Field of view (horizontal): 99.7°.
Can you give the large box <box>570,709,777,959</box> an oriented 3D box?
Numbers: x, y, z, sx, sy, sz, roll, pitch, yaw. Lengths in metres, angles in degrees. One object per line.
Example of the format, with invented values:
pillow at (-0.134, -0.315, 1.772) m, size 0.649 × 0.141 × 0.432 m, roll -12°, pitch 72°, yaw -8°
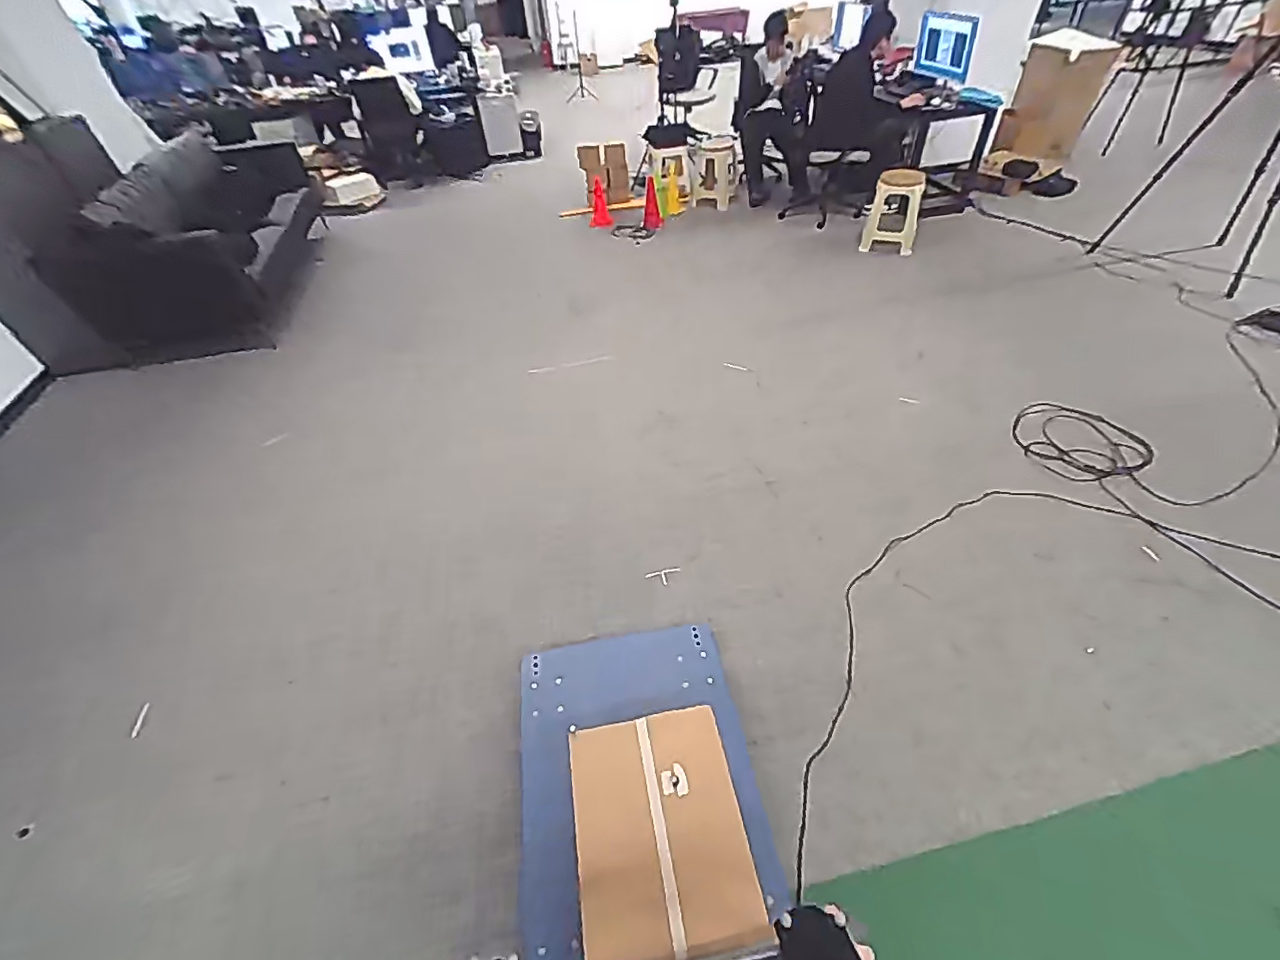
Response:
large box at (0.049, 0.754, 1.102) m, size 0.320 × 0.320 × 0.408 m, roll -9°, pitch 43°, yaw -5°
